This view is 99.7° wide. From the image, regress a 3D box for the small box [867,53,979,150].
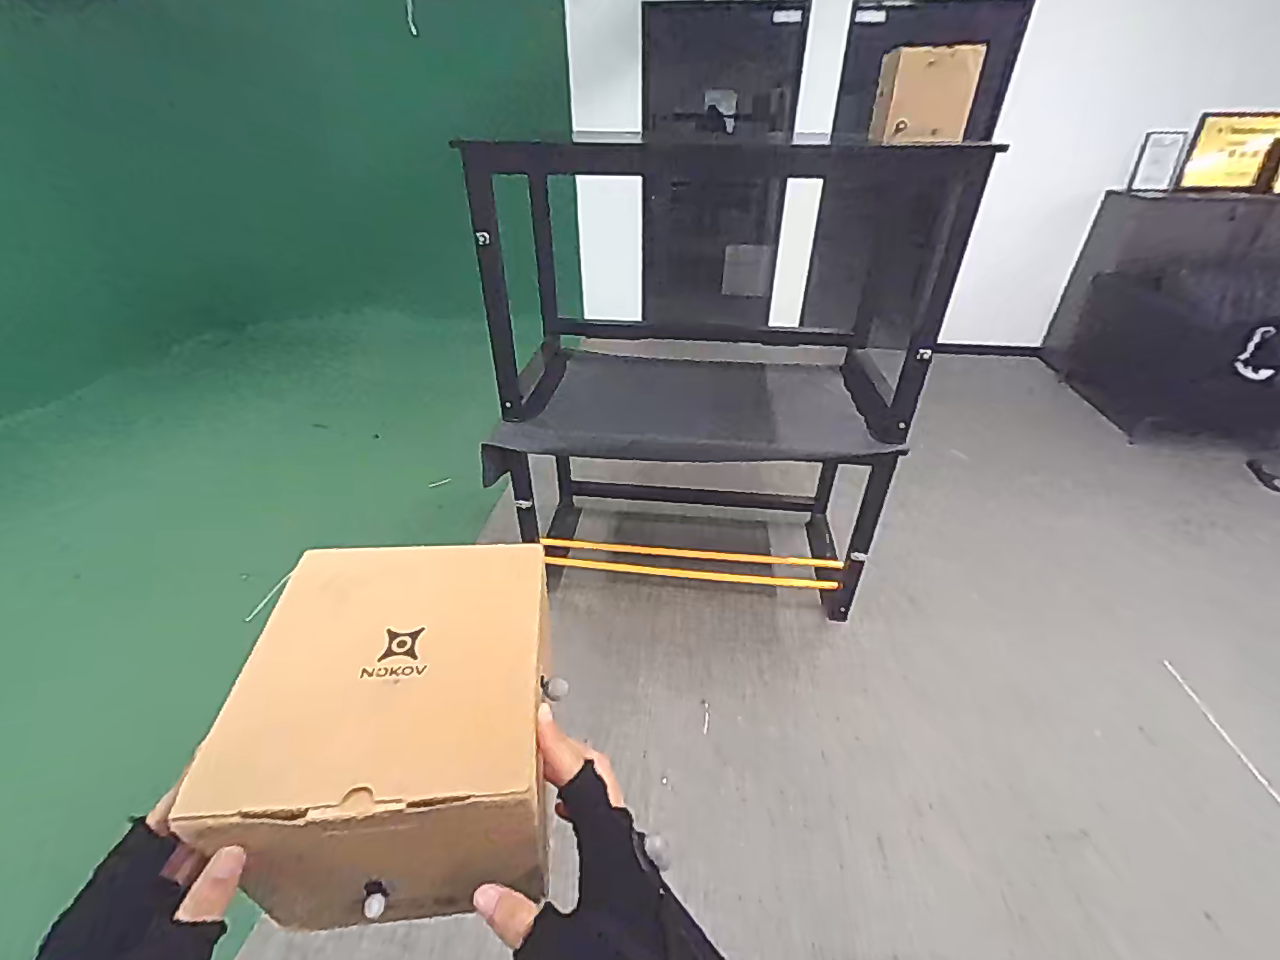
[{"bbox_3d":[0.628,-0.849,1.223,0.168,0.176,0.179,5,33,8],"label":"small box"}]
